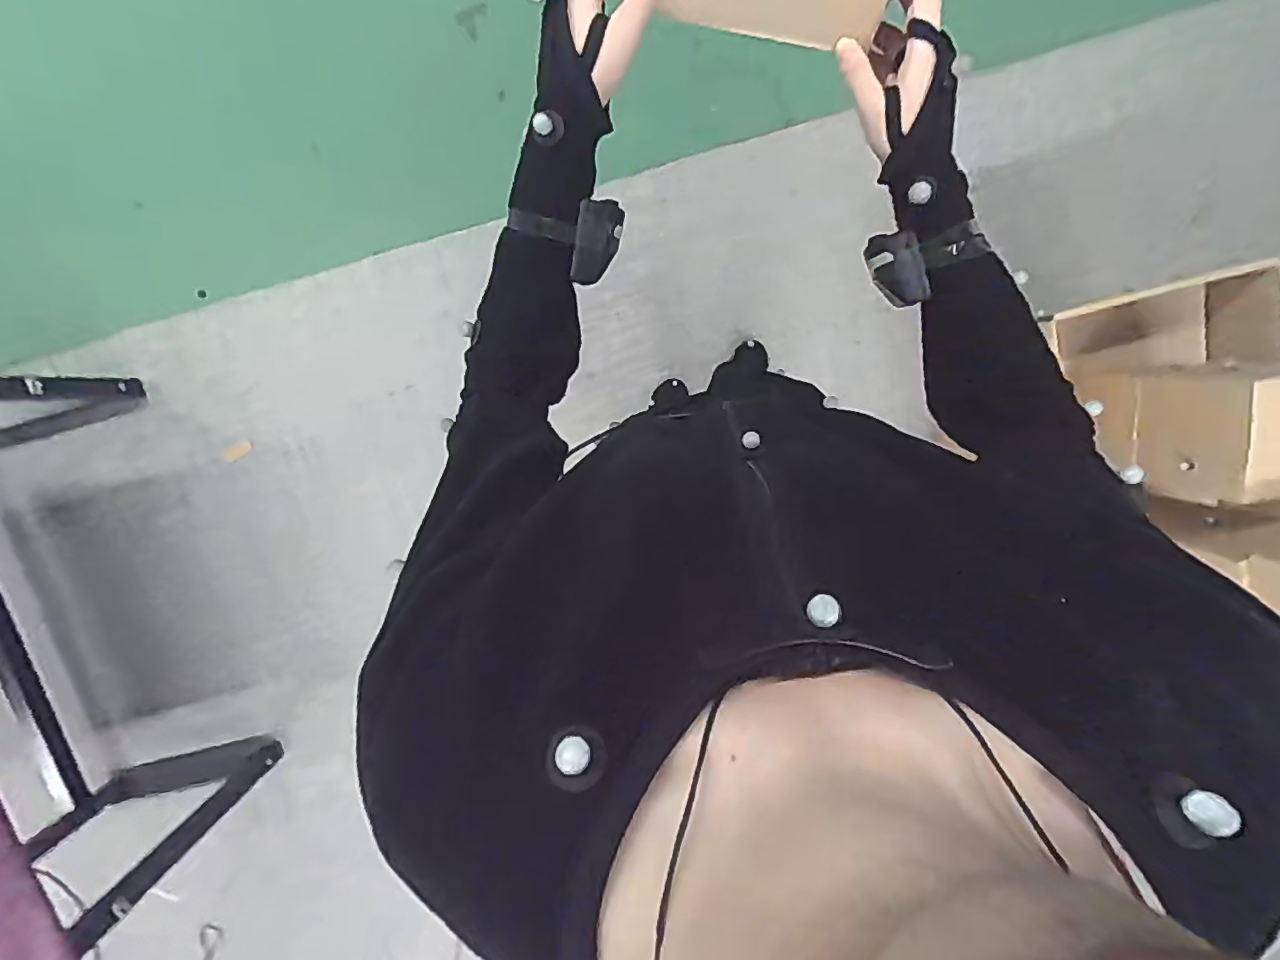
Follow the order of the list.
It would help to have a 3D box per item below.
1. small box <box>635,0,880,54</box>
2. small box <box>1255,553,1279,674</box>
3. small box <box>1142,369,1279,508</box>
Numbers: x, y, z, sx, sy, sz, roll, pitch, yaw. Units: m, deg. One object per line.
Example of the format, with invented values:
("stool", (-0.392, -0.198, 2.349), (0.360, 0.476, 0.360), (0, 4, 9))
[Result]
("small box", (0.085, -0.434, 0.372), (0.179, 0.176, 0.168), (-2, 144, -15))
("small box", (0.958, 0.193, 0.691), (0.168, 0.176, 0.179), (-10, 98, 3))
("small box", (0.914, -0.070, 0.815), (0.168, 0.176, 0.179), (-8, 102, 1))
